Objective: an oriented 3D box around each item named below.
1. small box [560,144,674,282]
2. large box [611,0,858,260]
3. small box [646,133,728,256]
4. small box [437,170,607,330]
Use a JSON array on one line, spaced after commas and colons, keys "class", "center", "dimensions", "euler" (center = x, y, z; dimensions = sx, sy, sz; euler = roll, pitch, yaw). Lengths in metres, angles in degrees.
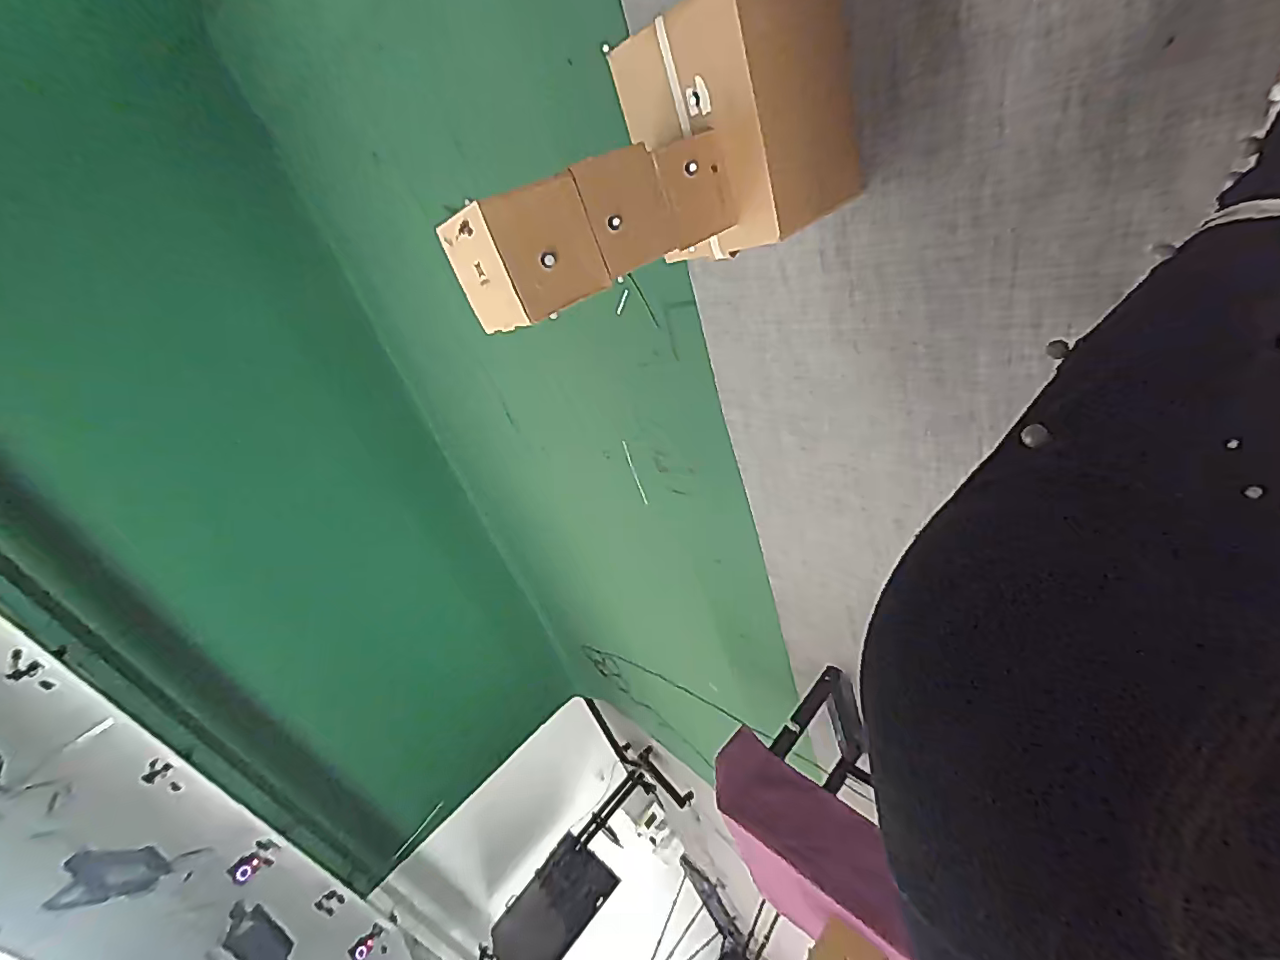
[{"class": "small box", "center": [-0.068, -0.447, 0.938], "dimensions": [0.168, 0.176, 0.179], "euler": [9, 128, 50]}, {"class": "large box", "center": [0.205, -0.713, 1.095], "dimensions": [0.320, 0.320, 0.408], "euler": [15, 133, 47]}, {"class": "small box", "center": [0.047, -0.529, 1.022], "dimensions": [0.179, 0.176, 0.168], "euler": [15, 133, 49]}, {"class": "small box", "center": [-0.180, -0.358, 0.857], "dimensions": [0.168, 0.176, 0.179], "euler": [11, 131, 49]}]
